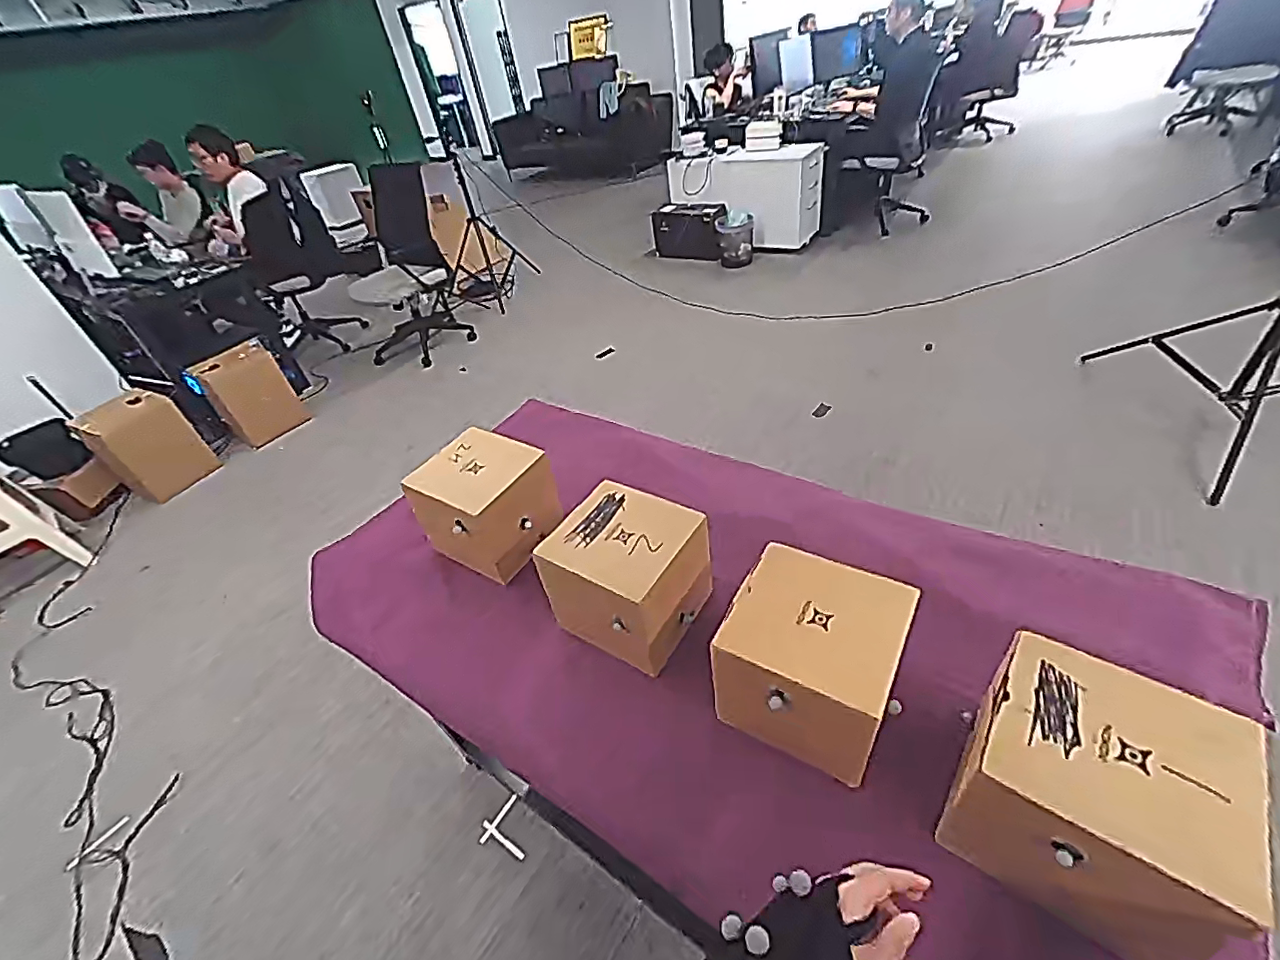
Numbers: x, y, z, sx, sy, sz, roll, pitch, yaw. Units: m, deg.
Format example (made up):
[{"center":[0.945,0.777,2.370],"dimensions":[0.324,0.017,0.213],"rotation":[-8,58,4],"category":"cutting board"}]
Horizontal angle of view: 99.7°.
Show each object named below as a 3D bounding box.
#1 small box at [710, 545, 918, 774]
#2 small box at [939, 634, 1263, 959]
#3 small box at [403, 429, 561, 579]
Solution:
[{"center":[0.201,0.211,0.636],"dimensions":[0.179,0.176,0.168],"rotation":[17,47,30],"category":"small box"},{"center":[0.402,0.284,0.496],"dimensions":[0.179,0.176,0.168],"rotation":[22,49,33],"category":"small box"},{"center":[-0.258,0.043,0.928],"dimensions":[0.179,0.176,0.168],"rotation":[19,47,27],"category":"small box"}]
